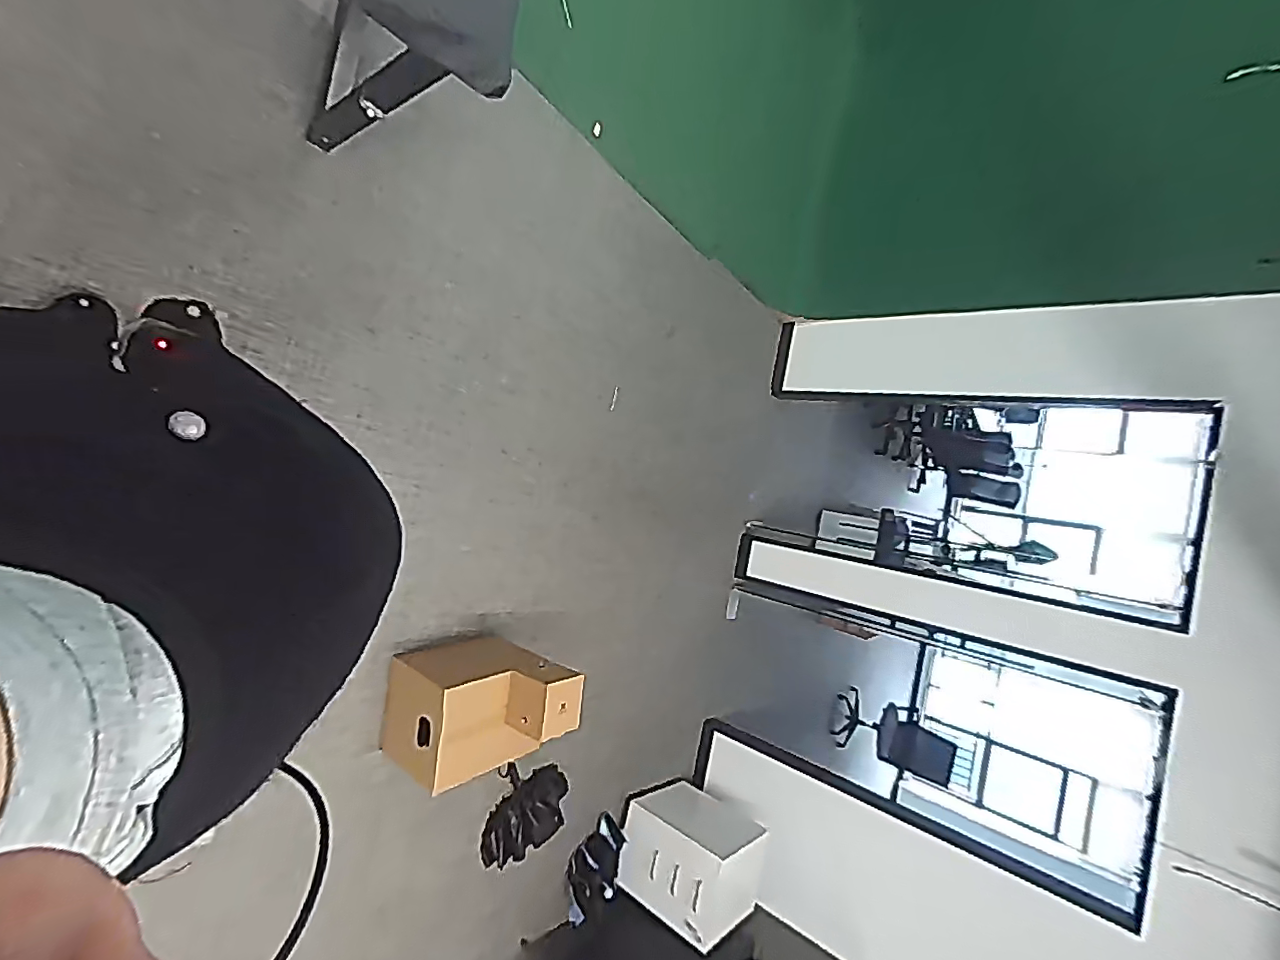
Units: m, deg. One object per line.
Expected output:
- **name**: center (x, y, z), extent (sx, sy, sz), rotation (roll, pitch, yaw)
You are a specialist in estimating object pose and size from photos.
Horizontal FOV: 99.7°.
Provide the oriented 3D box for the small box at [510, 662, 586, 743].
- **small box**: center (-0.294, 0.699, 1.718), extent (0.168, 0.176, 0.179), rotation (7, 87, -53)
